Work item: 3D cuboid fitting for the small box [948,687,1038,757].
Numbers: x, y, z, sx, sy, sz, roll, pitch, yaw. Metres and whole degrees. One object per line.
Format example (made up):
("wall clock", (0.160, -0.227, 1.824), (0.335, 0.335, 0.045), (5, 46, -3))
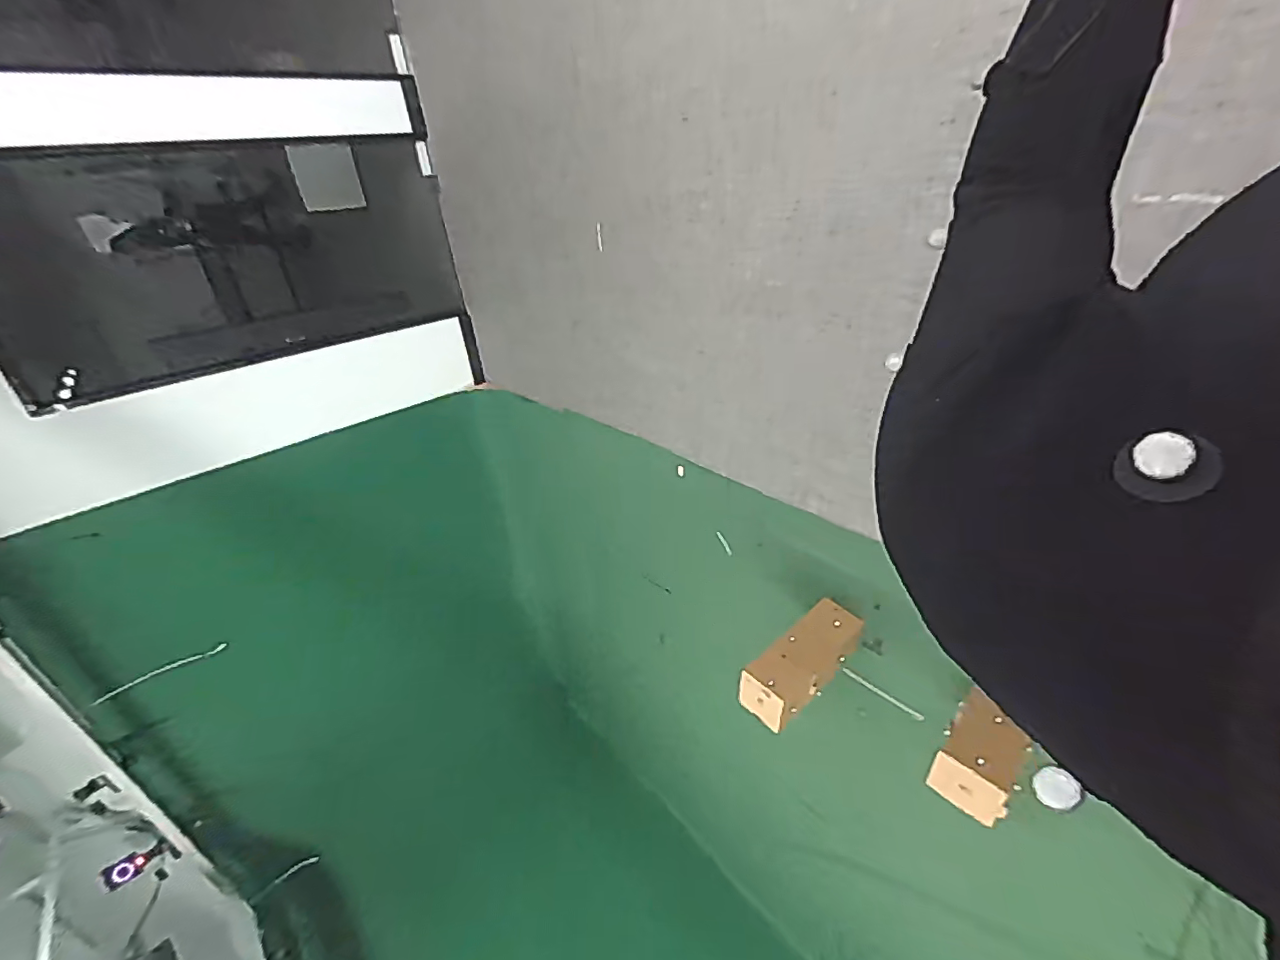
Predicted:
("small box", (1.055, 0.763, 1.623), (0.179, 0.176, 0.168), (26, 130, 42))

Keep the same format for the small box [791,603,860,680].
("small box", (0.688, 0.589, 1.999), (0.168, 0.176, 0.179), (34, 136, 37))

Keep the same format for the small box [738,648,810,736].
("small box", (0.447, 0.704, 1.807), (0.168, 0.176, 0.179), (31, 135, 40))

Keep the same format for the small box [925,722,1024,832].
("small box", (0.943, 0.827, 1.523), (0.179, 0.176, 0.168), (28, 132, 41))
